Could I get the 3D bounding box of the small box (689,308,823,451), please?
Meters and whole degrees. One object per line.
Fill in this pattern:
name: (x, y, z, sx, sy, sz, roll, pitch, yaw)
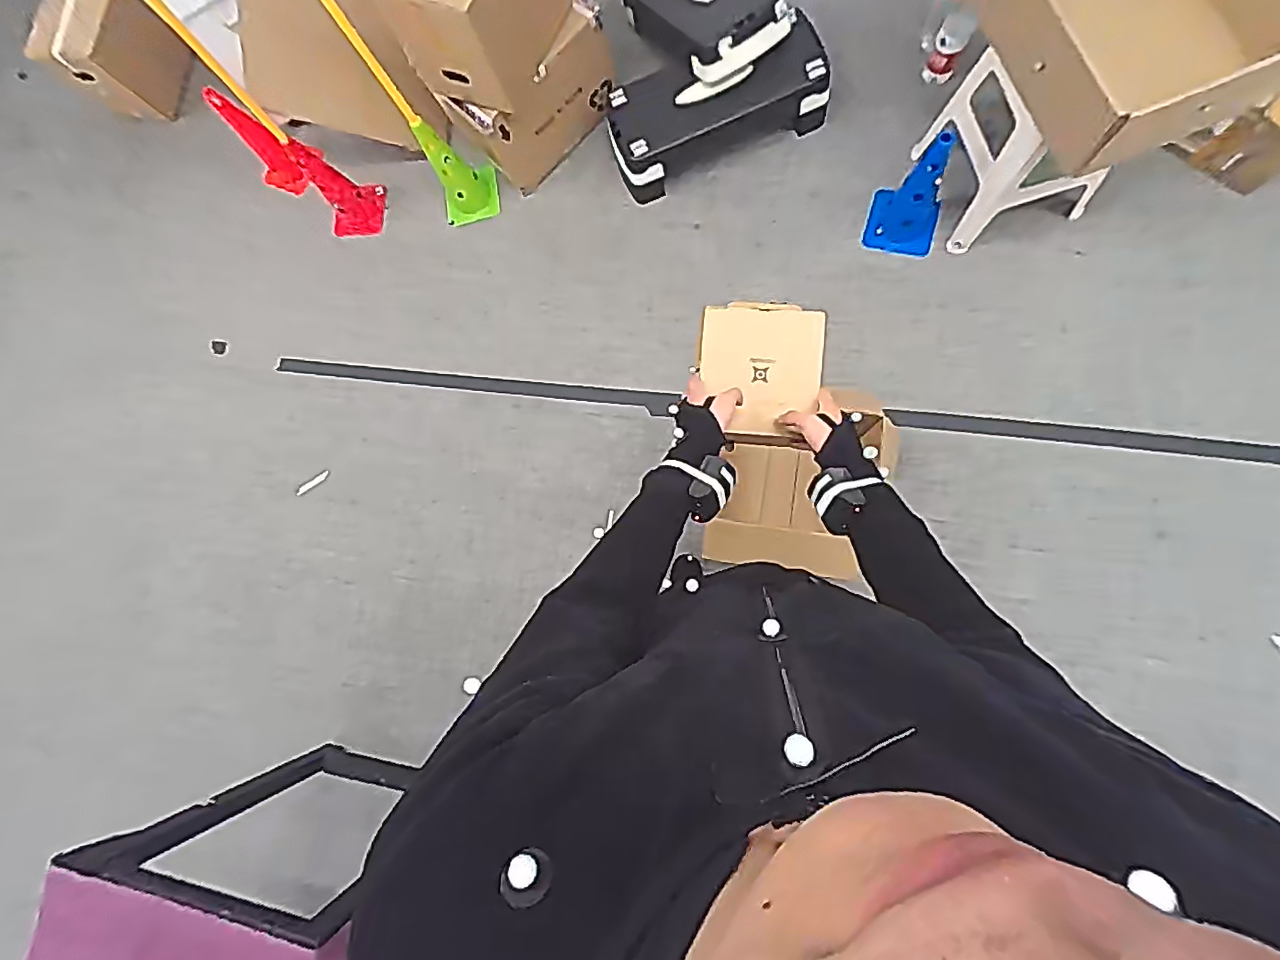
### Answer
small box: (0.165, -0.143, 0.819, 0.168, 0.176, 0.179, 4, 89, 2)
